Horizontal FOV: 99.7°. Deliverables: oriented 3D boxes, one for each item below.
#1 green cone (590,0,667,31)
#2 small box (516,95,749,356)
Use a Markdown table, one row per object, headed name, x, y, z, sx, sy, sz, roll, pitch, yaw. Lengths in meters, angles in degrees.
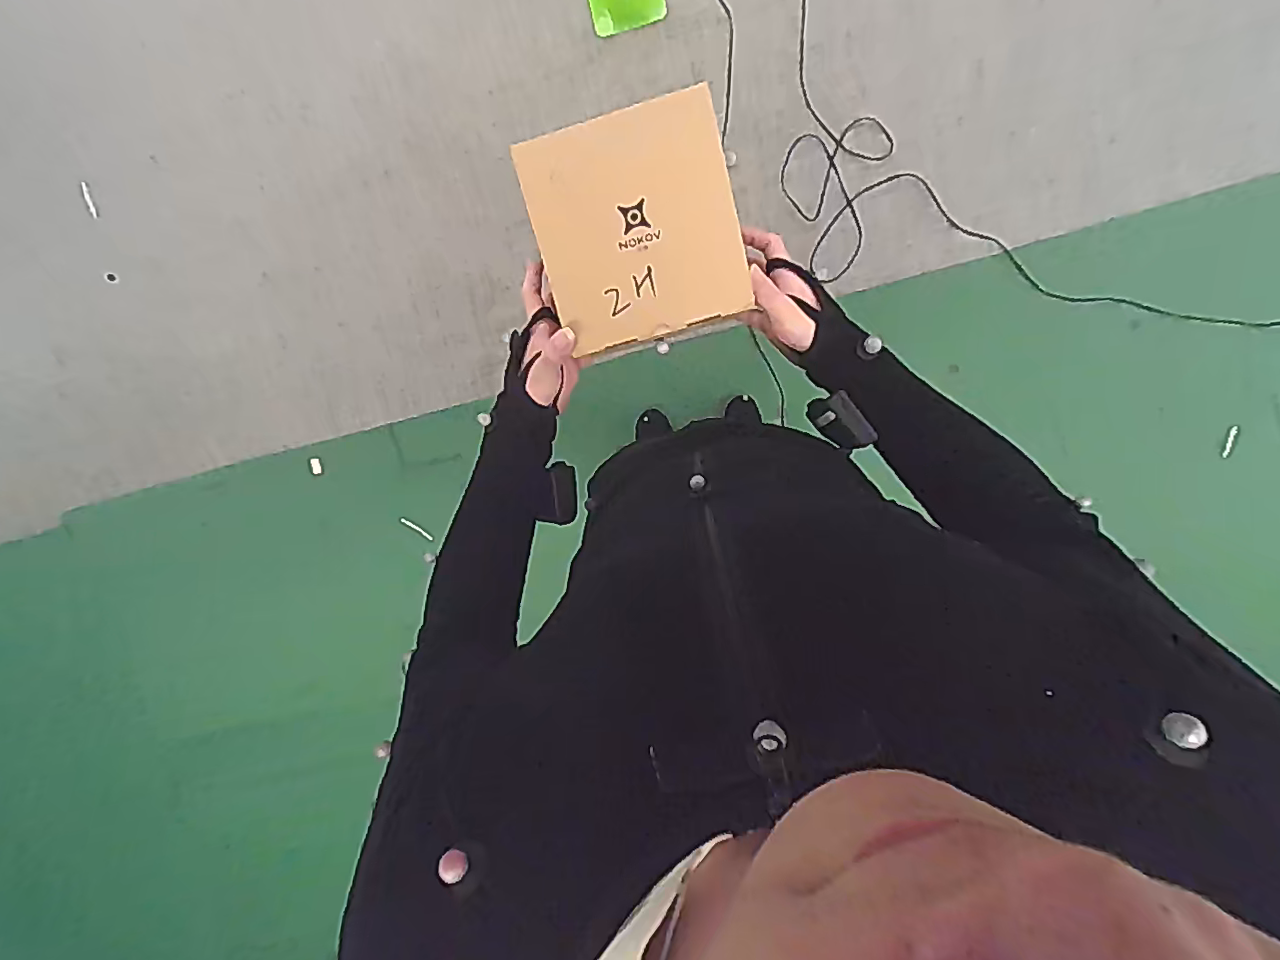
| name | x | y | z | sx | sy | sz | roll | pitch | yaw |
| --- | --- | --- | --- | --- | --- | --- | --- | --- | --- |
| green cone | -0.048 | -1.311 | 1.290 | 0.202 | 0.368 | 0.200 | -13 | 97 | 4 |
| small box | -0.002 | -0.226 | 0.531 | 0.168 | 0.176 | 0.179 | -14 | 103 | 5 |
